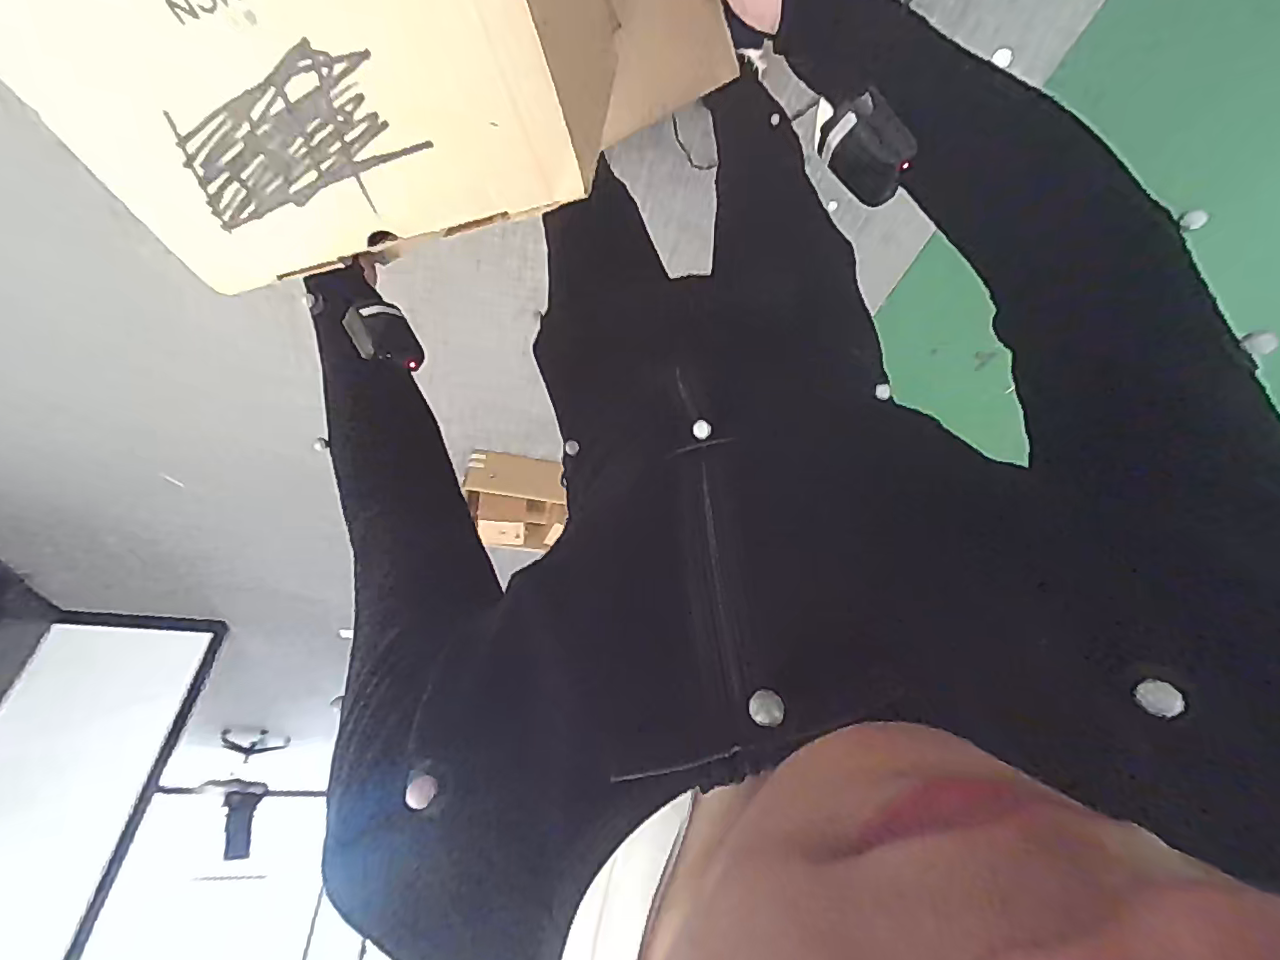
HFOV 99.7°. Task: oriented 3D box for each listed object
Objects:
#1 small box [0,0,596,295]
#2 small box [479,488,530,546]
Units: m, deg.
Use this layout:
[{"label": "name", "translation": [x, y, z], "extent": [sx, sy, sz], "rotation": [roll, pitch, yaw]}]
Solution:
[{"label": "small box", "translation": [-0.122, -0.200, 0.191], "extent": [0.168, 0.176, 0.179], "rotation": [-8, 139, 14]}, {"label": "small box", "translation": [-0.546, 0.147, 2.179], "extent": [0.179, 0.176, 0.168], "rotation": [6, 141, -10]}]
